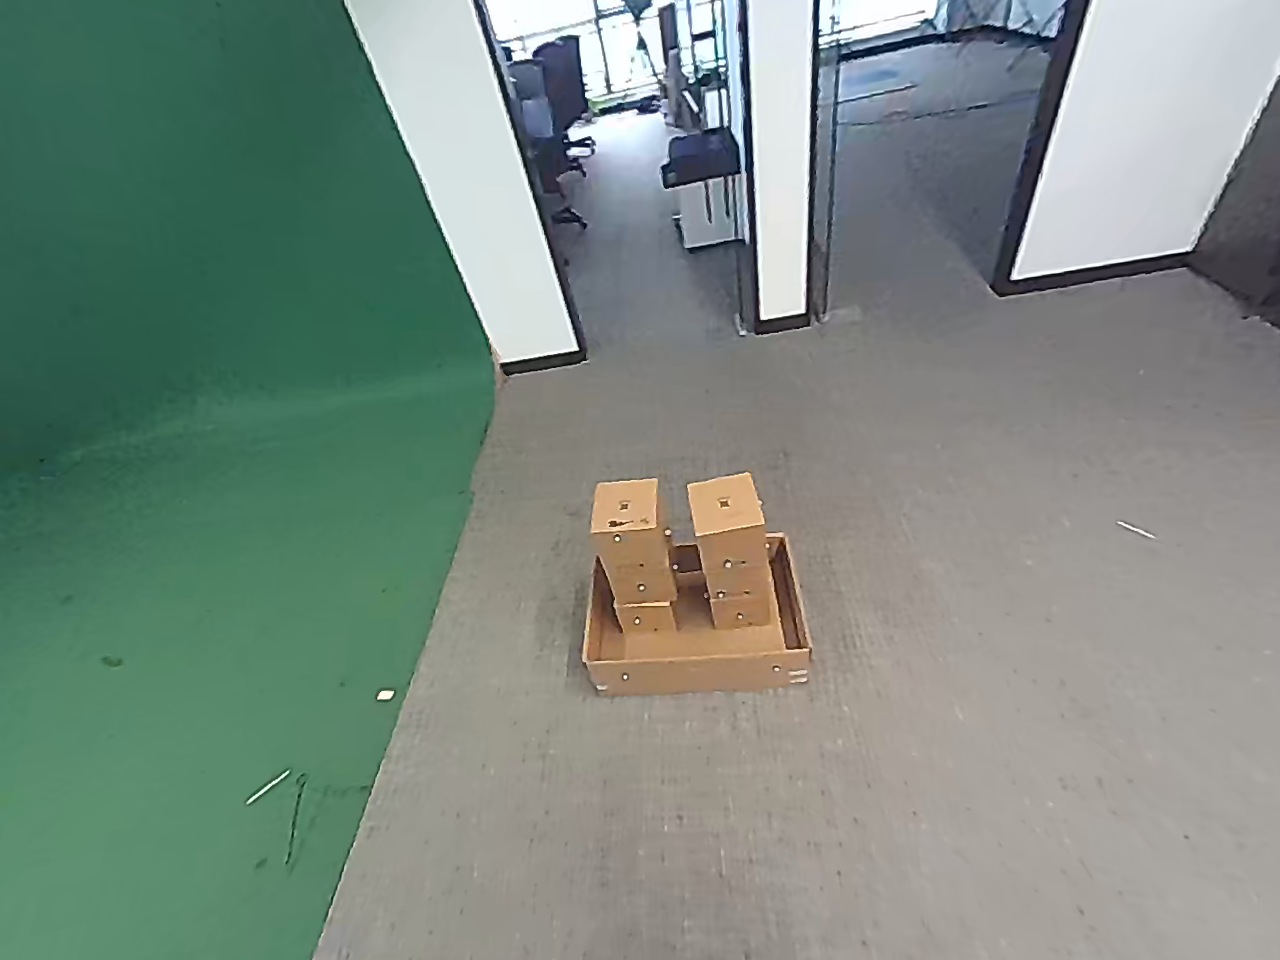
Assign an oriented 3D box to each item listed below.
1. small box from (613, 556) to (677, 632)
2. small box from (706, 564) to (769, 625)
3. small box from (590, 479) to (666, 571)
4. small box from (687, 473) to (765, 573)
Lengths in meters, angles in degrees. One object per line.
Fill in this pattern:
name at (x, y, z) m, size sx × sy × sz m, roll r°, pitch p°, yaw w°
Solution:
small box at (0.023, 0.354, 1.661) m, size 0.168 × 0.176 × 0.179 m, roll -4°, pitch 44°, yaw 10°
small box at (0.291, 0.321, 1.620) m, size 0.168 × 0.176 × 0.179 m, roll -7°, pitch 45°, yaw 8°
small box at (-0.025, 0.119, 1.434) m, size 0.168 × 0.176 × 0.179 m, roll -5°, pitch 44°, yaw 10°
small box at (0.219, 0.111, 1.378) m, size 0.168 × 0.176 × 0.179 m, roll -11°, pitch 45°, yaw 6°
